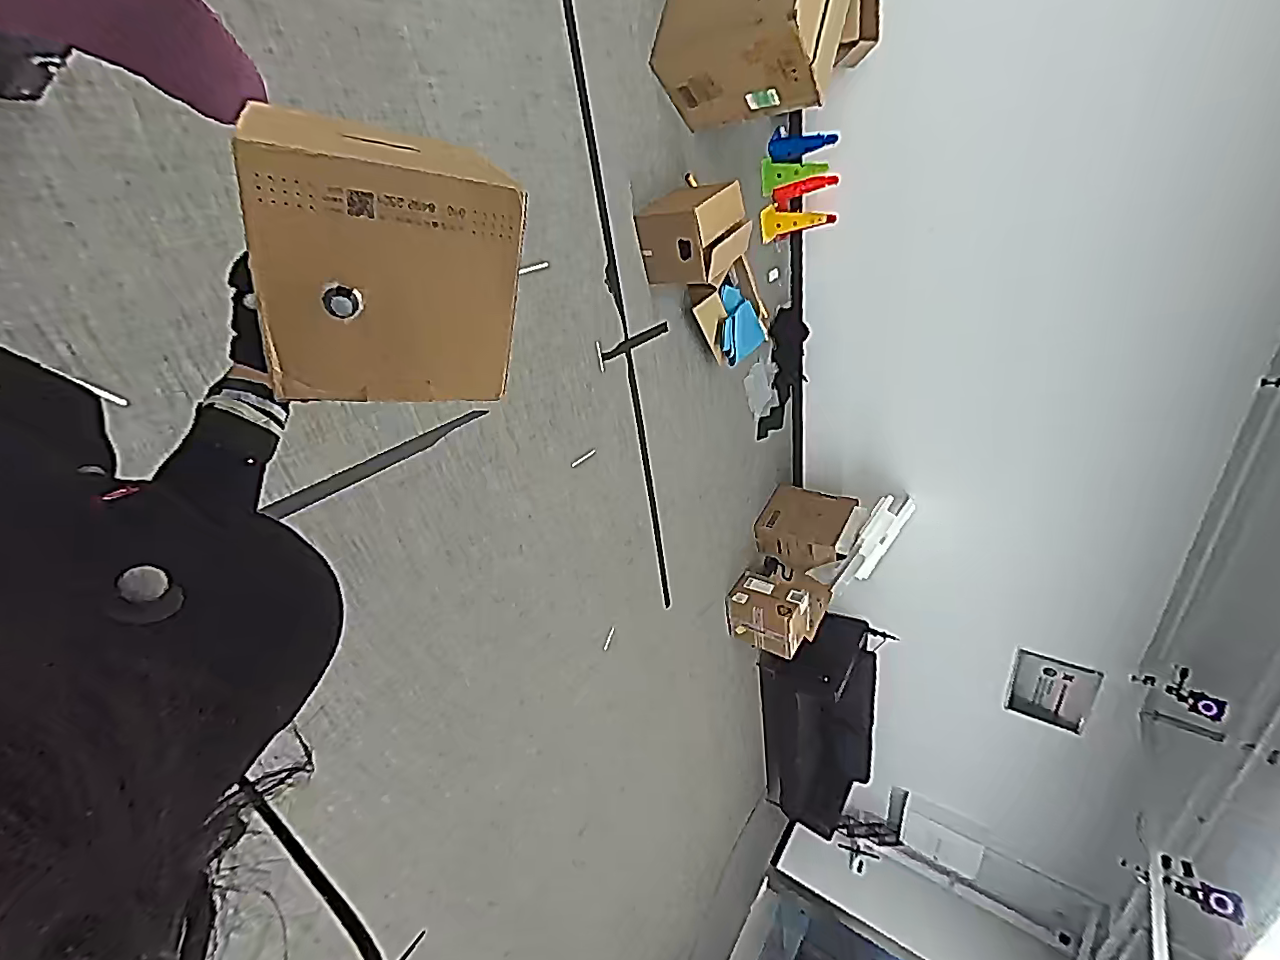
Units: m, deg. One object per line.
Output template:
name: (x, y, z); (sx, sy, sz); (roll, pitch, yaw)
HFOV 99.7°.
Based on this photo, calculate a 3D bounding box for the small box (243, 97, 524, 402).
small box: (-0.198, -0.177, 0.424); (0.168, 0.179, 0.176); (-3, 129, -31)
